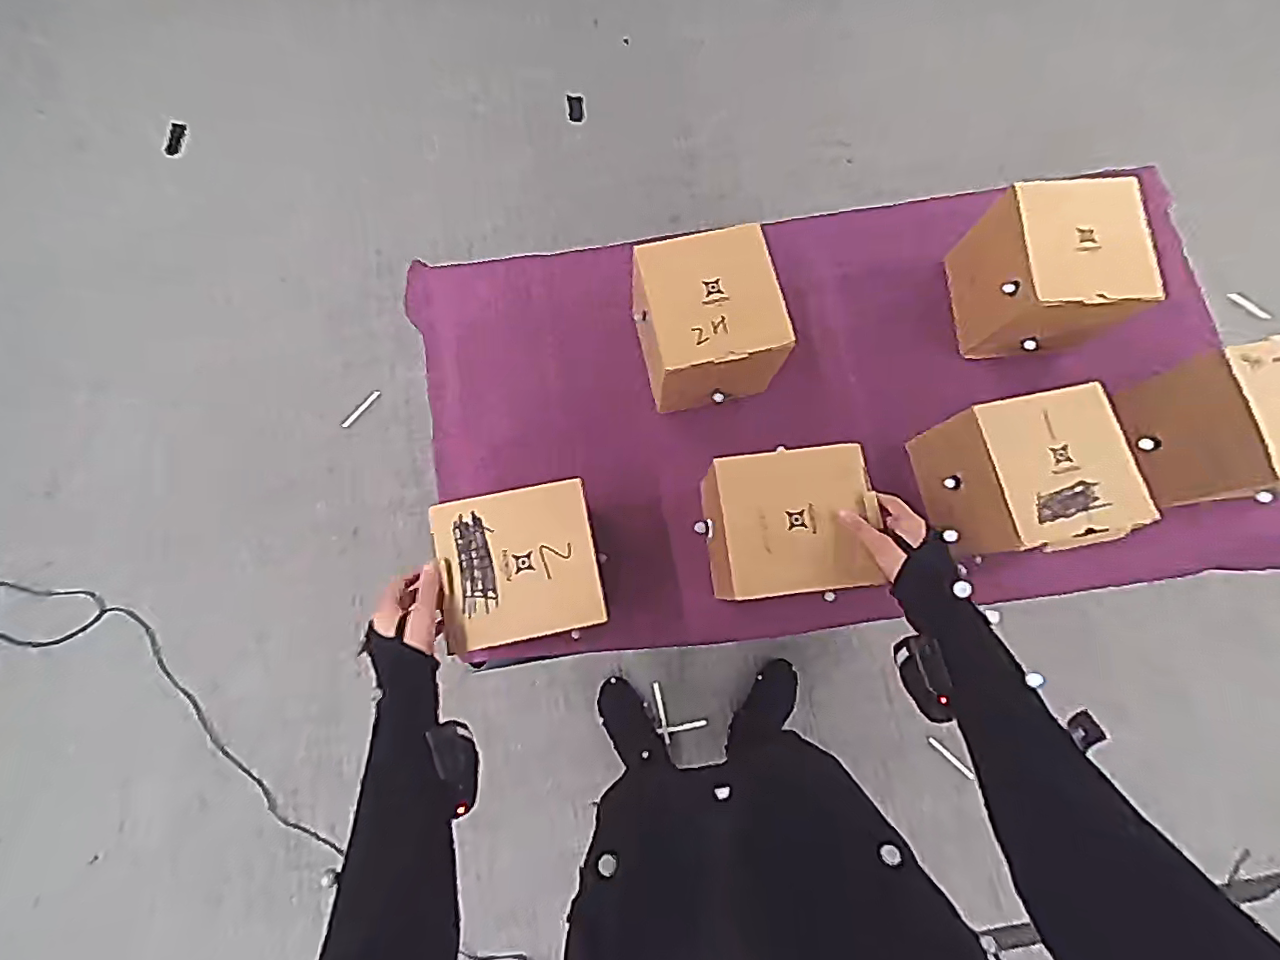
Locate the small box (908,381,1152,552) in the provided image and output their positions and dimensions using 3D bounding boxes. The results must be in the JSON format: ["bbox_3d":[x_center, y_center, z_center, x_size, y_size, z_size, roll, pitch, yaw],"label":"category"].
[{"bbox_3d":[0.488,-0.006,0.707,0.168,0.176,0.179,-11,77,-3],"label":"small box"}]

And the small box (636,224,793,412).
[{"bbox_3d":[0.089,-0.215,0.753,0.168,0.176,0.179,-13,79,-3],"label":"small box"}]

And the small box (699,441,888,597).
[{"bbox_3d":[0.181,0.058,0.692,0.179,0.176,0.168,-6,77,-2],"label":"small box"}]

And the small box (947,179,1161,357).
[{"bbox_3d":[0.571,-0.294,0.774,0.168,0.176,0.179,-3,79,-1],"label":"small box"}]

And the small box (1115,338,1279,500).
[{"bbox_3d":[0.803,-0.074,0.722,0.168,0.176,0.179,-7,76,-1],"label":"small box"}]
